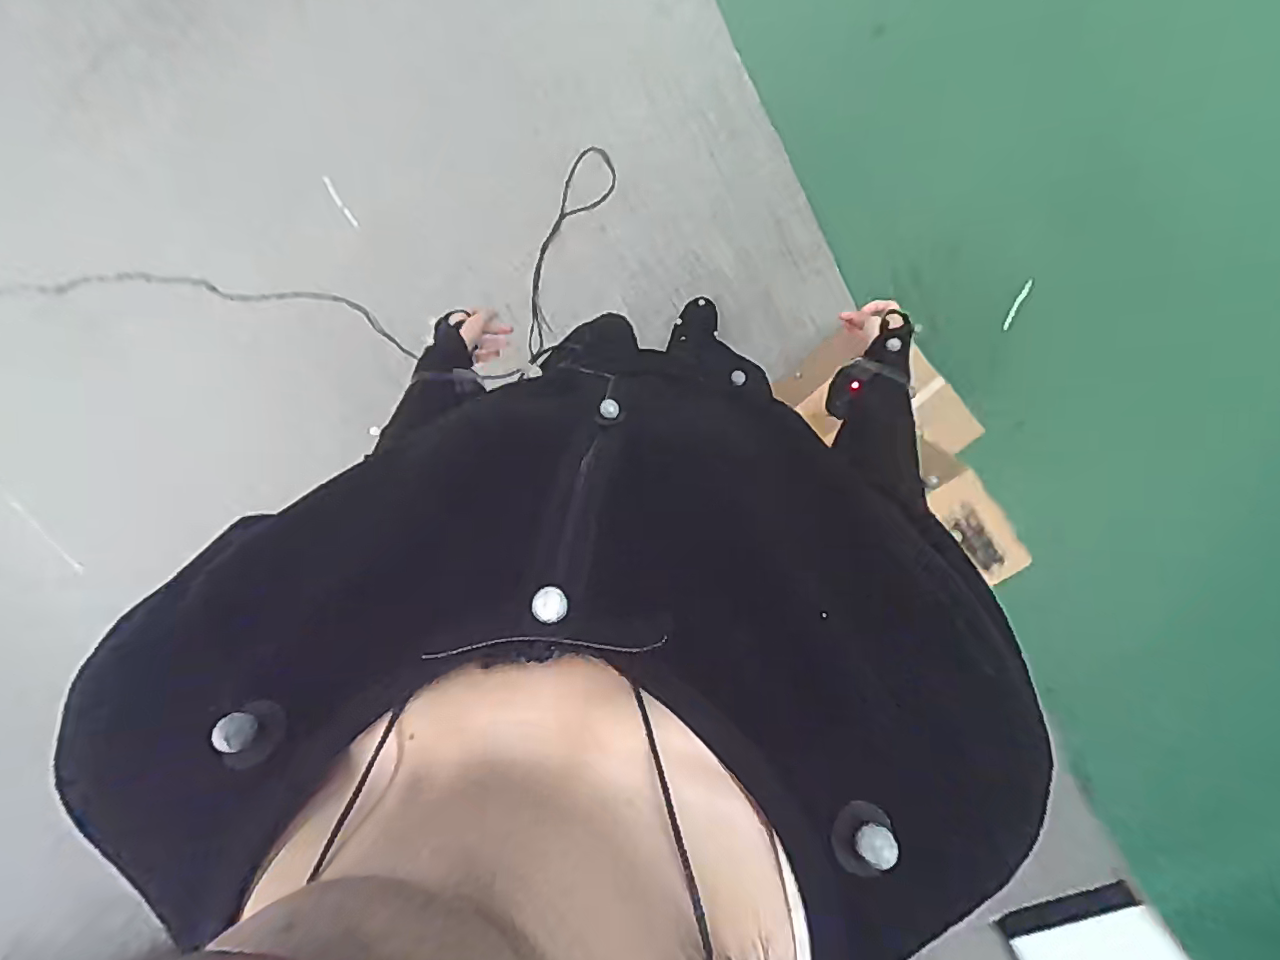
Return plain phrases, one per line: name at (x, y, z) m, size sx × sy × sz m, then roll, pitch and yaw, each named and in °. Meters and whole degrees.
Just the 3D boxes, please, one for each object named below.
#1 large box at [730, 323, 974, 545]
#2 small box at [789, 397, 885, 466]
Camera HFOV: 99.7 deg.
large box at (0.477, -0.125, 1.313) m, size 0.408 × 0.320 × 0.320 m, roll -42°, pitch 102°, yaw 14°
small box at (0.421, -0.051, 1.082) m, size 0.168 × 0.176 × 0.179 m, roll -36°, pitch 103°, yaw 15°
